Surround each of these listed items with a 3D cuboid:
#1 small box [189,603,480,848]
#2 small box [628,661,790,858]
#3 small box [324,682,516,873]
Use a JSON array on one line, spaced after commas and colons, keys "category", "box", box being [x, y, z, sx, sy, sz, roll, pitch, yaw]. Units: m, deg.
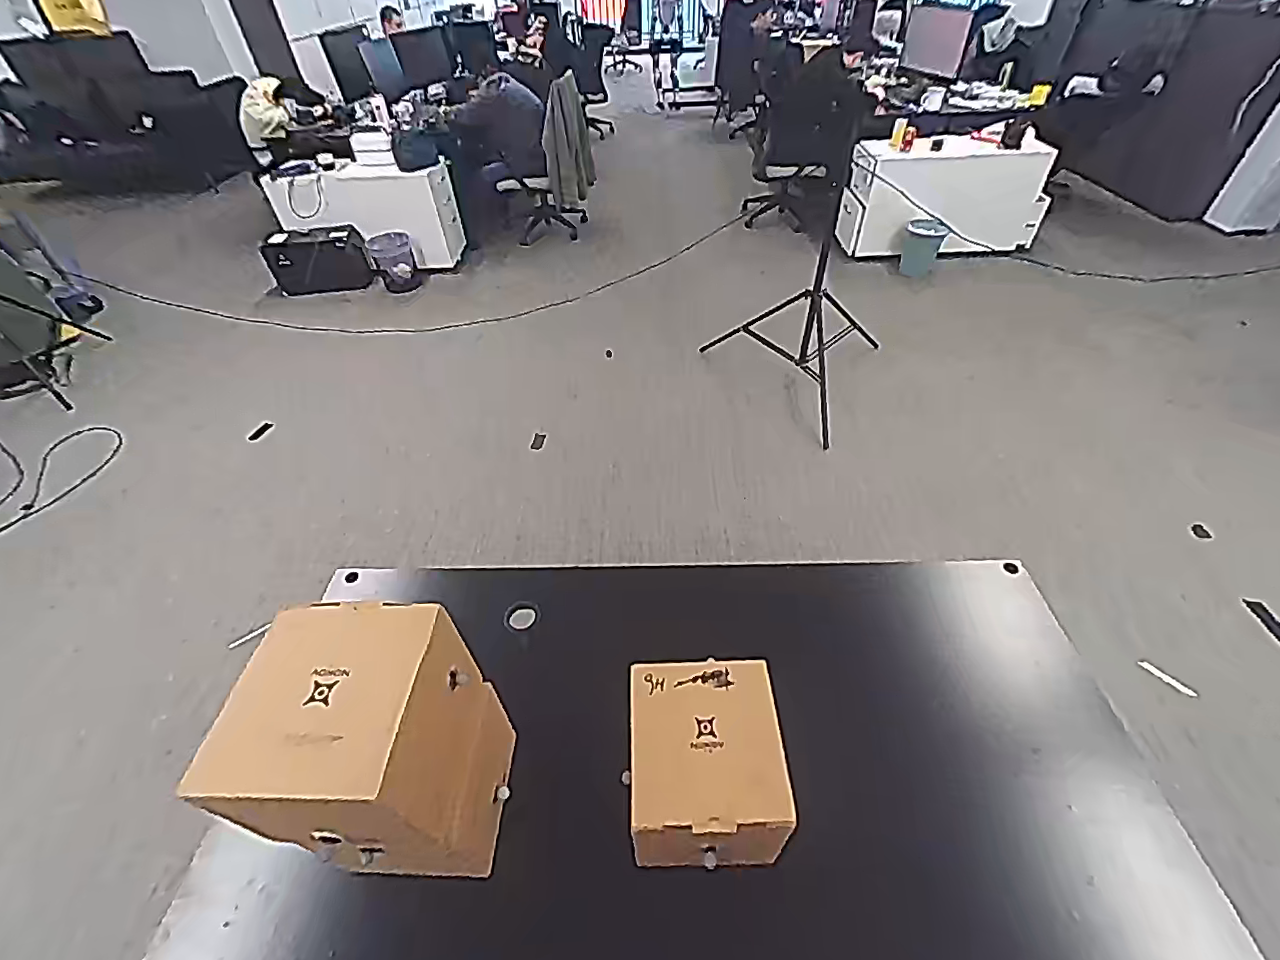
[{"category": "small box", "box": [-0.272, 0.242, 0.538, 0.168, 0.176, 0.179, -2, 45, 3]}, {"category": "small box", "box": [0.074, 0.340, 0.653, 0.168, 0.176, 0.179, -2, 44, 1]}, {"category": "small box", "box": [-0.263, 0.357, 0.652, 0.179, 0.176, 0.168, 0, 44, 2]}]
